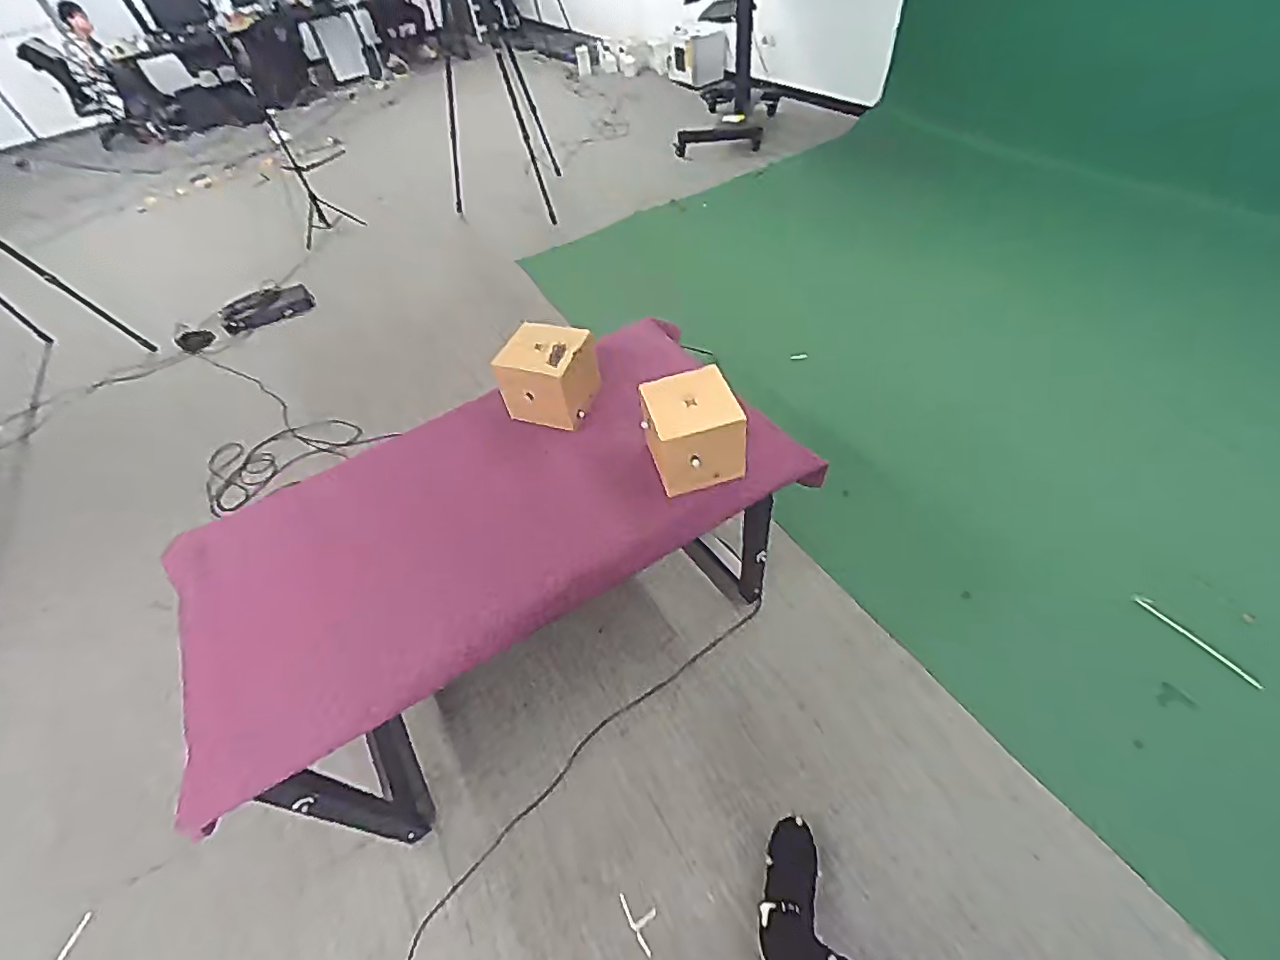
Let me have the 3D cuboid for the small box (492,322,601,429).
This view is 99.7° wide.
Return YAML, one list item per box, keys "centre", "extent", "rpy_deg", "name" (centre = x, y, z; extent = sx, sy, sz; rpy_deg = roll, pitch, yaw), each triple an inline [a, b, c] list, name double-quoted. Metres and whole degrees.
- centre: [-0.206, -0.239, 1.254]
  extent: [0.179, 0.176, 0.168]
  rpy_deg: [13, 54, 18]
  name: "small box"

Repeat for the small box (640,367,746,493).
- centre: [0.108, -0.093, 1.089]
  extent: [0.168, 0.176, 0.179]
  rpy_deg: [-15, 48, -3]
  name: "small box"
